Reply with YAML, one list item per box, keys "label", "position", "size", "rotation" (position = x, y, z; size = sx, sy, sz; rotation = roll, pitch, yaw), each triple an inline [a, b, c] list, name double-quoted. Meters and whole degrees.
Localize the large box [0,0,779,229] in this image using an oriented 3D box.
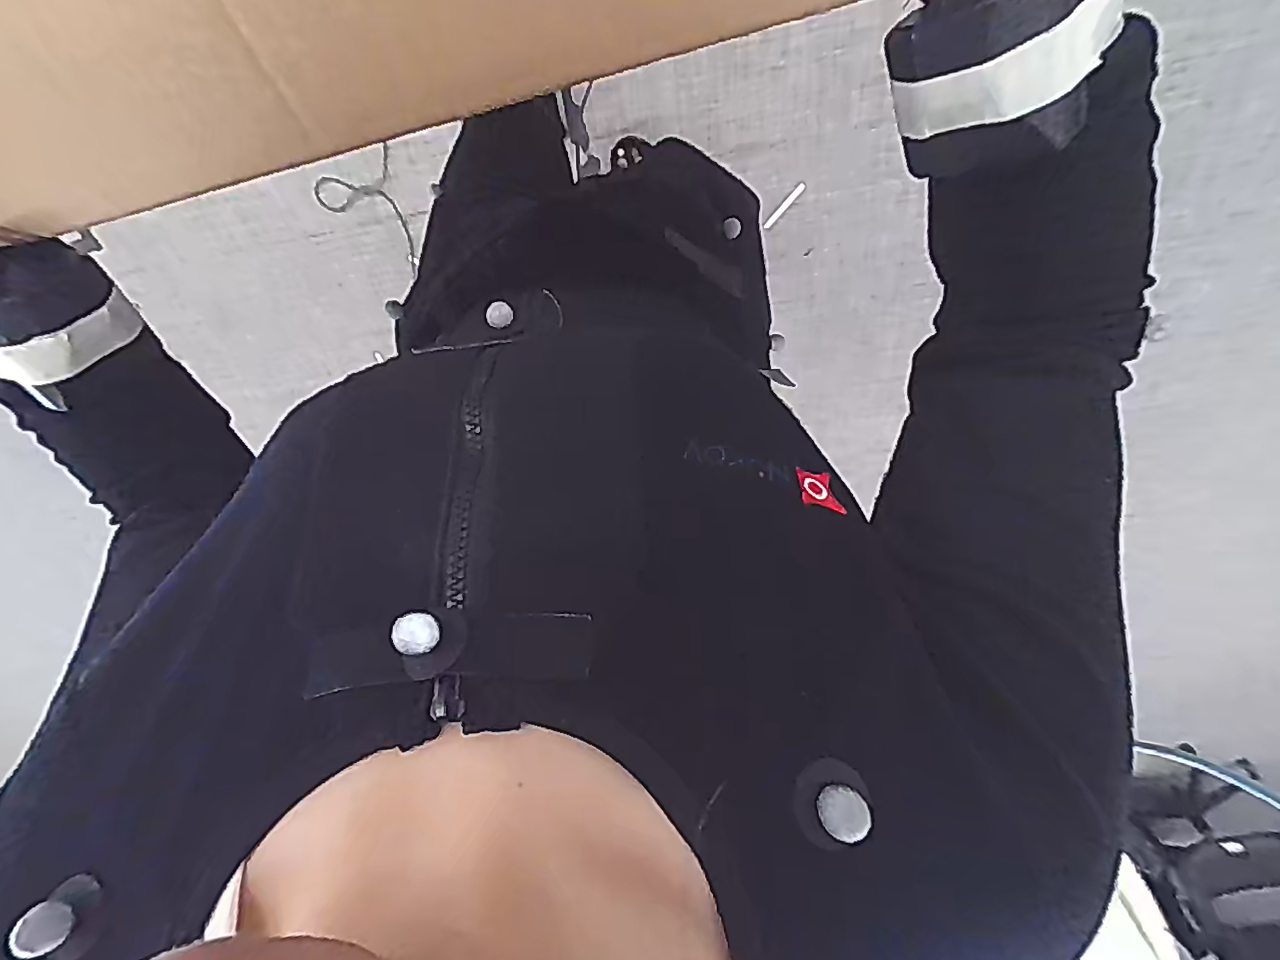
- label: "large box"
  position: [-0.136, -0.358, 0.186]
  size: [0.408, 0.320, 0.320]
  rotation: [-11, 144, 8]
